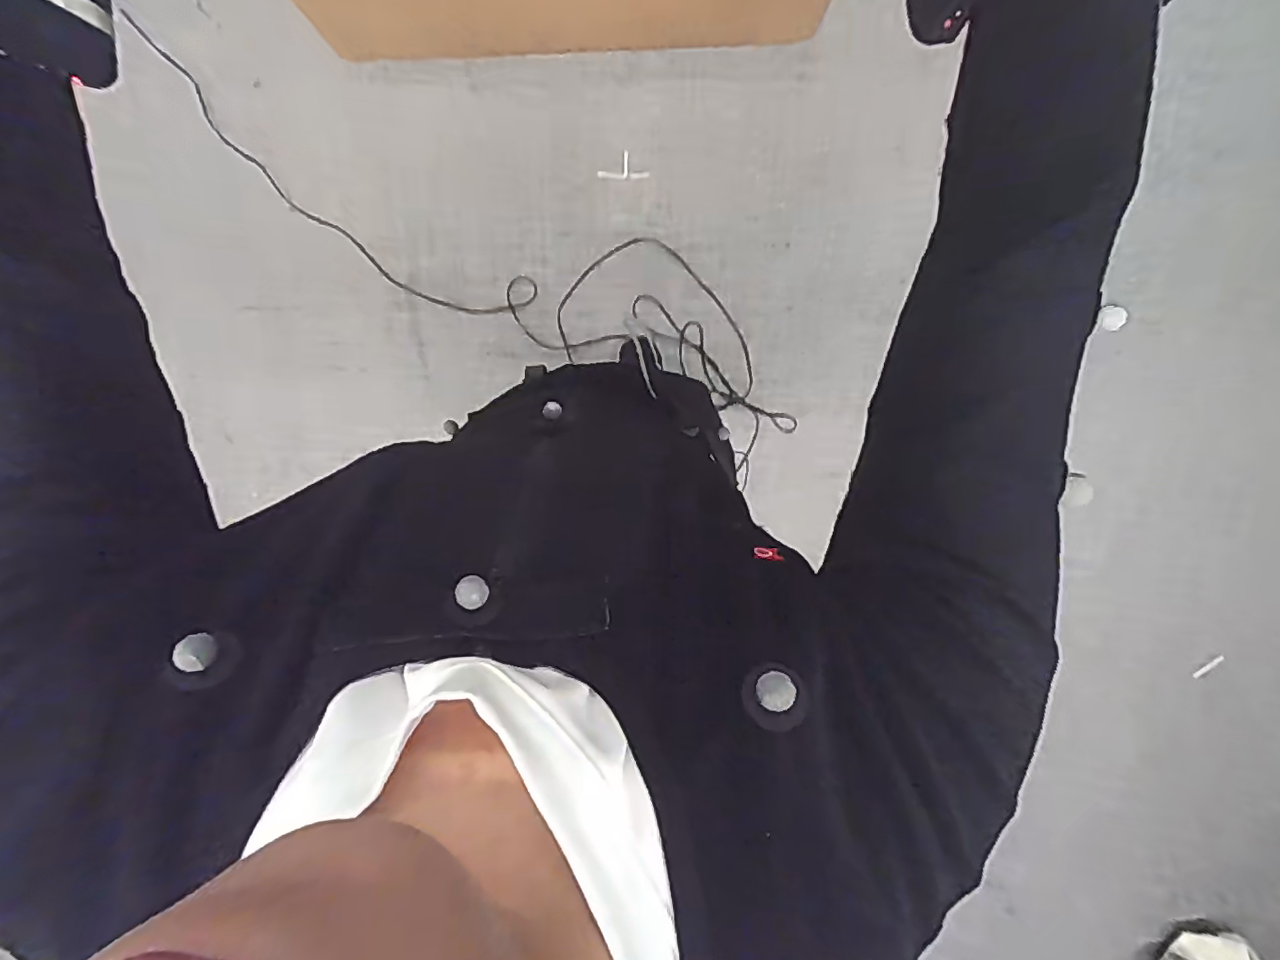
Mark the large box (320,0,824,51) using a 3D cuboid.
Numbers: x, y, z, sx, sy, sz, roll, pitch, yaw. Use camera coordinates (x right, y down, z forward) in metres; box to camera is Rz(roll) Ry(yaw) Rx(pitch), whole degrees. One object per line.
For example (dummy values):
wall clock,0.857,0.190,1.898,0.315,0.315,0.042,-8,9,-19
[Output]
large box,-0.053,-0.507,0.296,0.408,0.320,0.320,-3,98,-1
